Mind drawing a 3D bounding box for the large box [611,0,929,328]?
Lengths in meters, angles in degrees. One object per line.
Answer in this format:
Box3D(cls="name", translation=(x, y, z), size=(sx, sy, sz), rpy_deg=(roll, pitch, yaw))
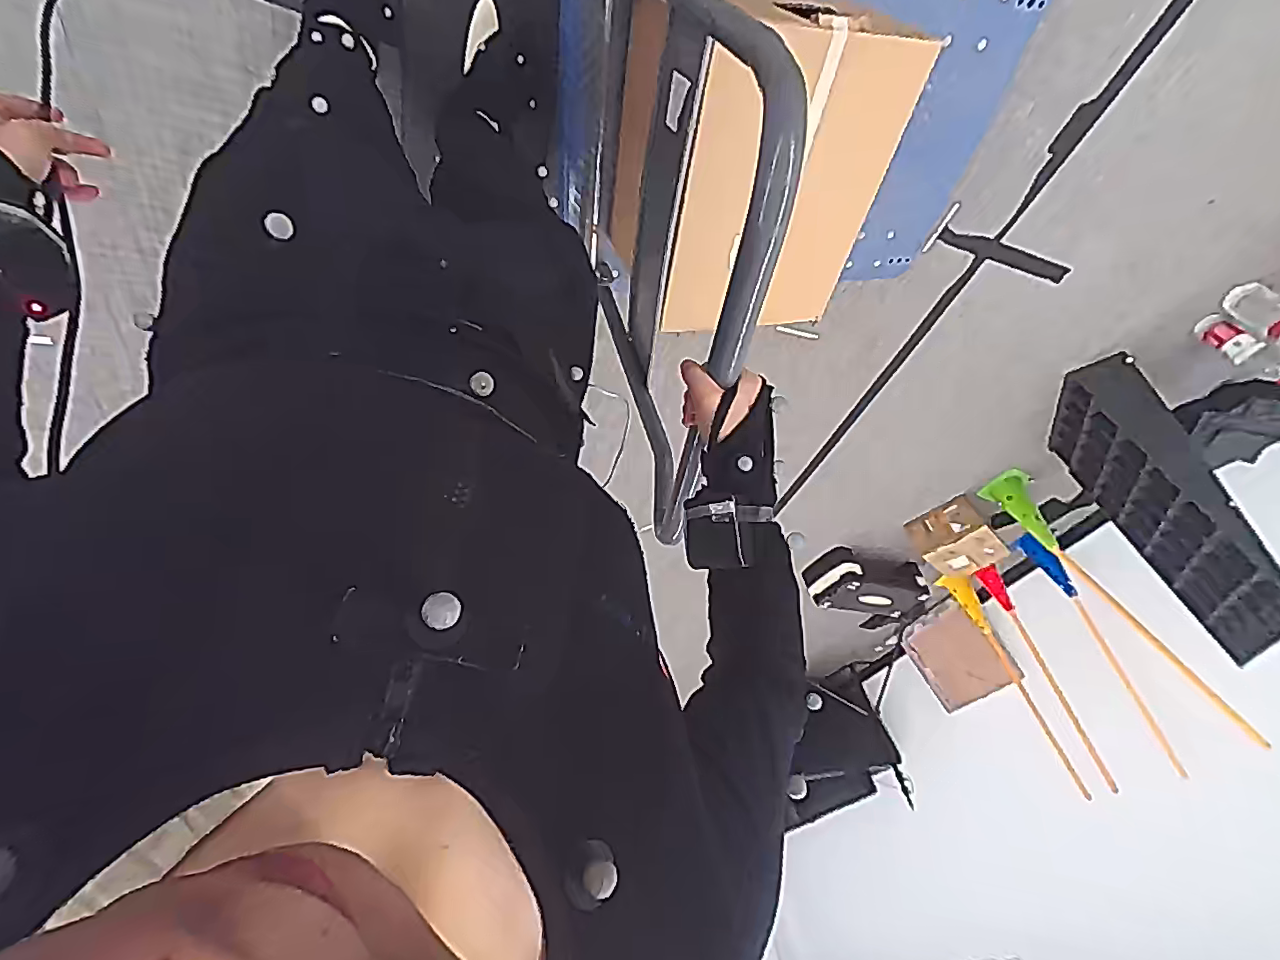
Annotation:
Box3D(cls="large box", translation=(0.153, -0.512, 0.867), size=(0.320, 0.320, 0.408), rpy_deg=(-9, 142, -17))
